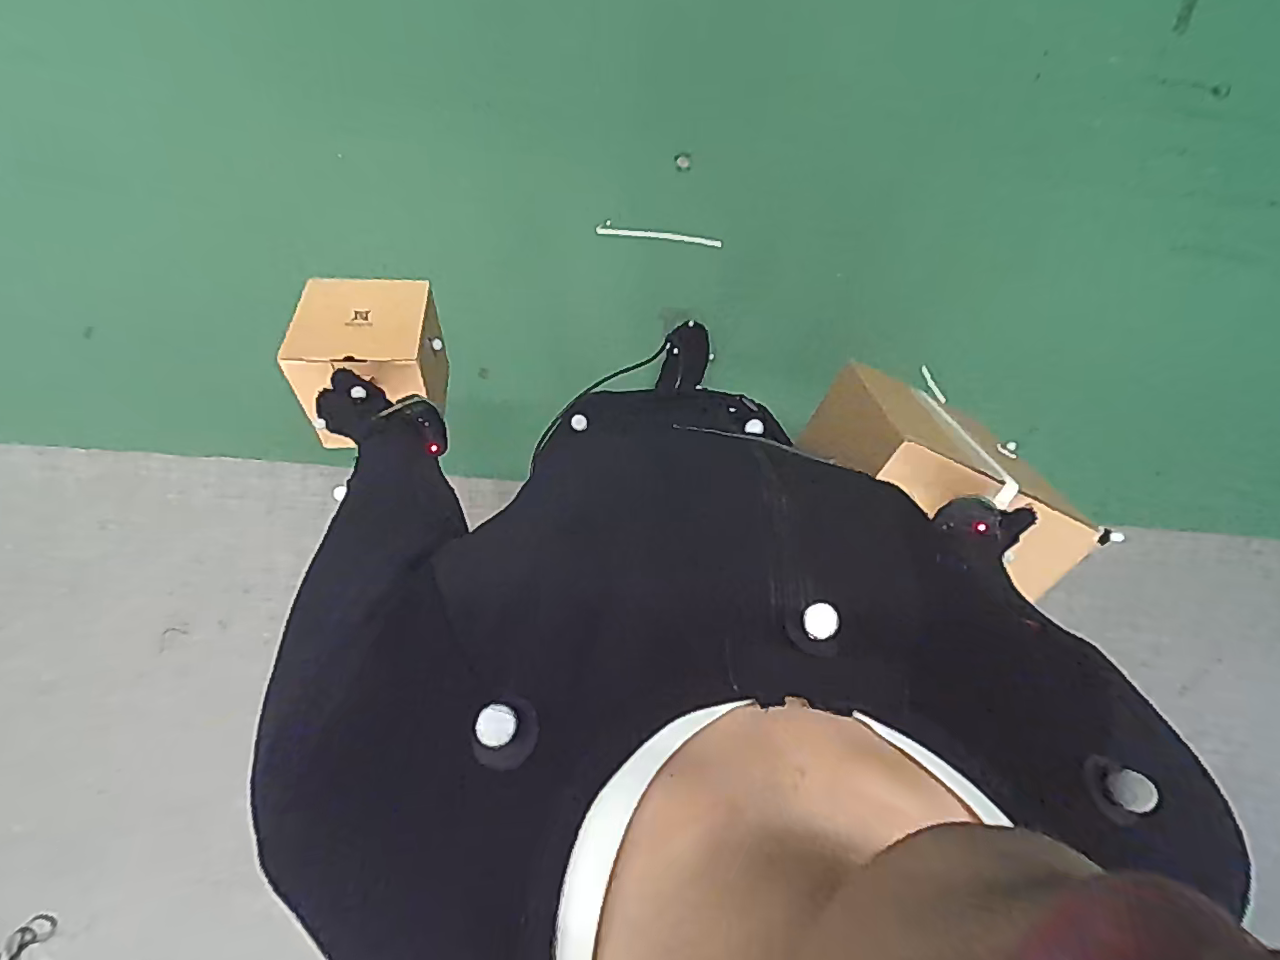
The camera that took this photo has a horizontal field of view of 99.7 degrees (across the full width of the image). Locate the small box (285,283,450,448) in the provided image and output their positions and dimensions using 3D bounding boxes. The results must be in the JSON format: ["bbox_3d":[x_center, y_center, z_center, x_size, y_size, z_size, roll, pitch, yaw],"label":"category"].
[{"bbox_3d":[-0.384,-0.168,0.801,0.168,0.179,0.176,-3,144,-9],"label":"small box"}]
